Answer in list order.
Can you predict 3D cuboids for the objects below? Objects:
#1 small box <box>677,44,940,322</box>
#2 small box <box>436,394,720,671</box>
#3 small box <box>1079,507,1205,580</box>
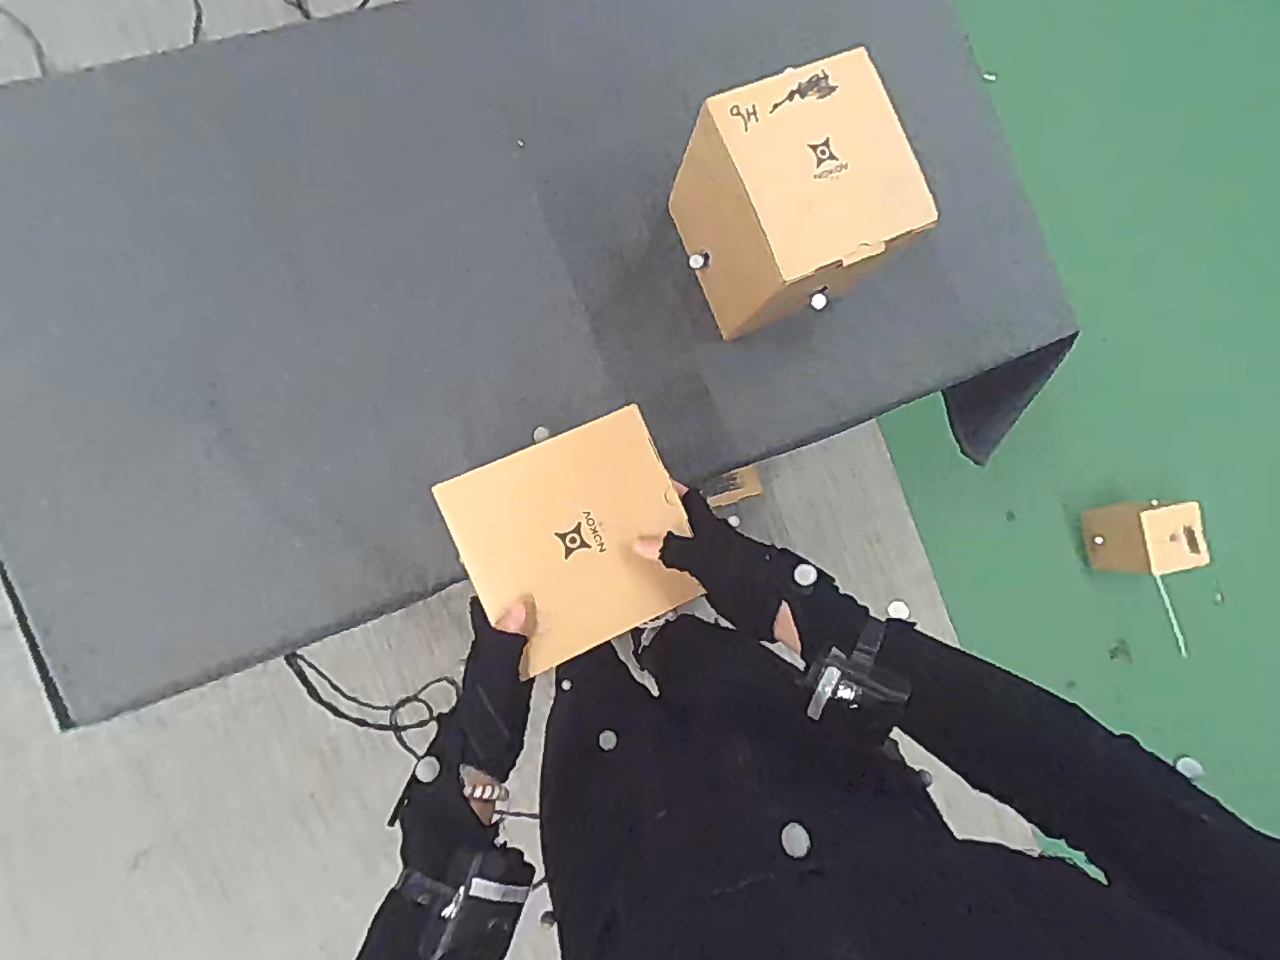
[{"bbox_3d":[0.156,-0.280,0.555,0.168,0.176,0.179,-23,91,-10],"label":"small box"},{"bbox_3d":[-0.056,0.046,0.494,0.179,0.176,0.168,-24,89,-11],"label":"small box"},{"bbox_3d":[1.346,0.166,1.459,0.179,0.176,0.168,-9,88,-8],"label":"small box"}]
